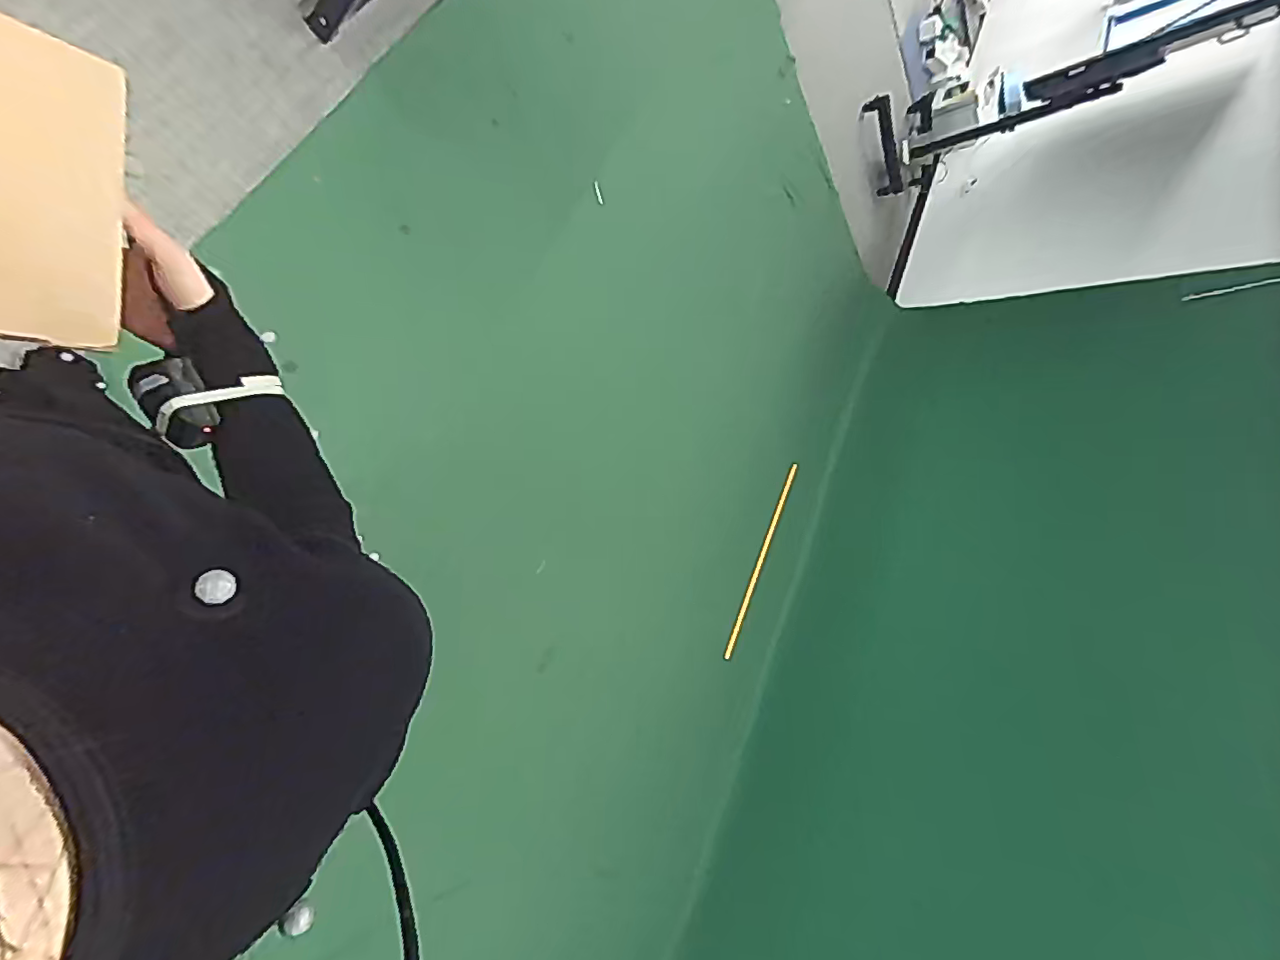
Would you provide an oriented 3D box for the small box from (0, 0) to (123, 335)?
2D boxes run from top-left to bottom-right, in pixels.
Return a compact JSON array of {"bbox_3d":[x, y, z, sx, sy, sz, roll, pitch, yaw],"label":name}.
[{"bbox_3d":[-0.434,-0.190,0.308,0.168,0.176,0.179,1,99,-55],"label":"small box"}]
